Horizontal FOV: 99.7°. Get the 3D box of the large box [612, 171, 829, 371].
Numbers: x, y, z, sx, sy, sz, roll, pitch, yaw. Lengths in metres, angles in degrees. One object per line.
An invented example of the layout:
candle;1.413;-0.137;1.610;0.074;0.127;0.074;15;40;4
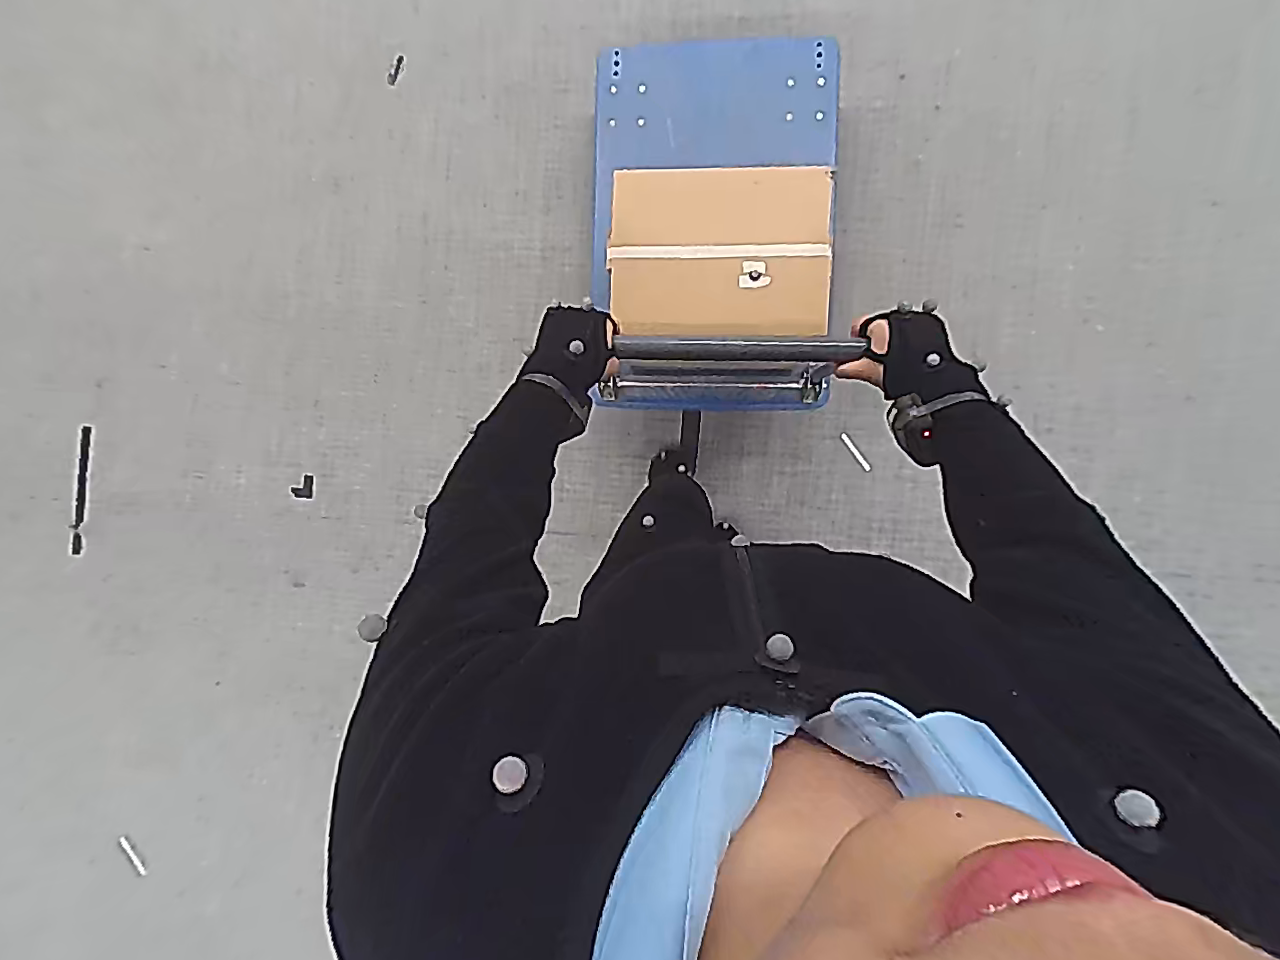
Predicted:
large box;0.155;-0.415;1.150;0.408;0.320;0.320;1;92;4
